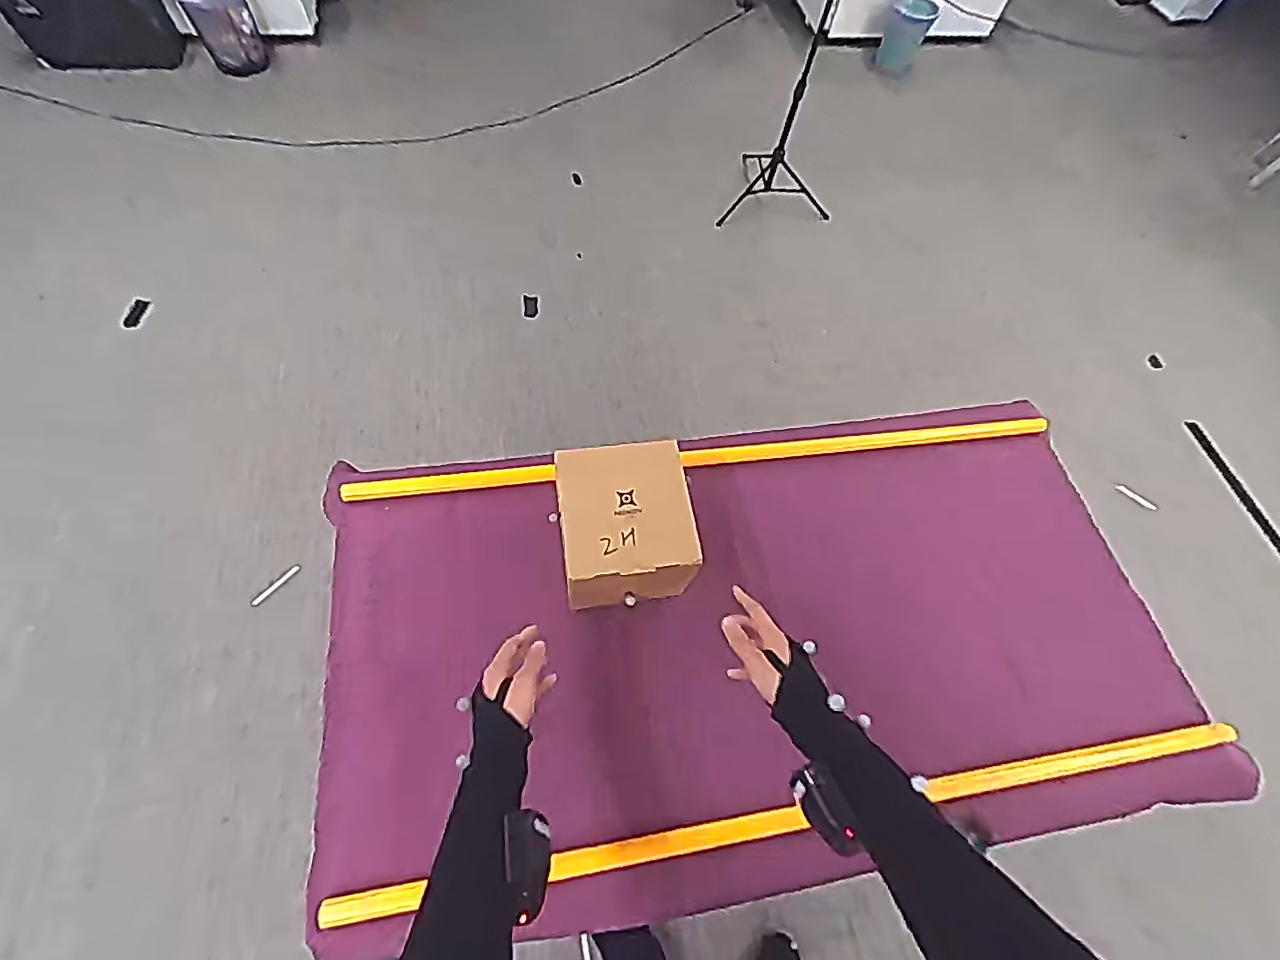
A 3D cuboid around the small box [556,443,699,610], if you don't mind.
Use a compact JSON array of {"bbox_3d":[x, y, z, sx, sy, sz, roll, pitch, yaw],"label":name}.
[{"bbox_3d":[-0.027,0.069,0.755,0.168,0.176,0.179,-6,66,-8],"label":"small box"}]
